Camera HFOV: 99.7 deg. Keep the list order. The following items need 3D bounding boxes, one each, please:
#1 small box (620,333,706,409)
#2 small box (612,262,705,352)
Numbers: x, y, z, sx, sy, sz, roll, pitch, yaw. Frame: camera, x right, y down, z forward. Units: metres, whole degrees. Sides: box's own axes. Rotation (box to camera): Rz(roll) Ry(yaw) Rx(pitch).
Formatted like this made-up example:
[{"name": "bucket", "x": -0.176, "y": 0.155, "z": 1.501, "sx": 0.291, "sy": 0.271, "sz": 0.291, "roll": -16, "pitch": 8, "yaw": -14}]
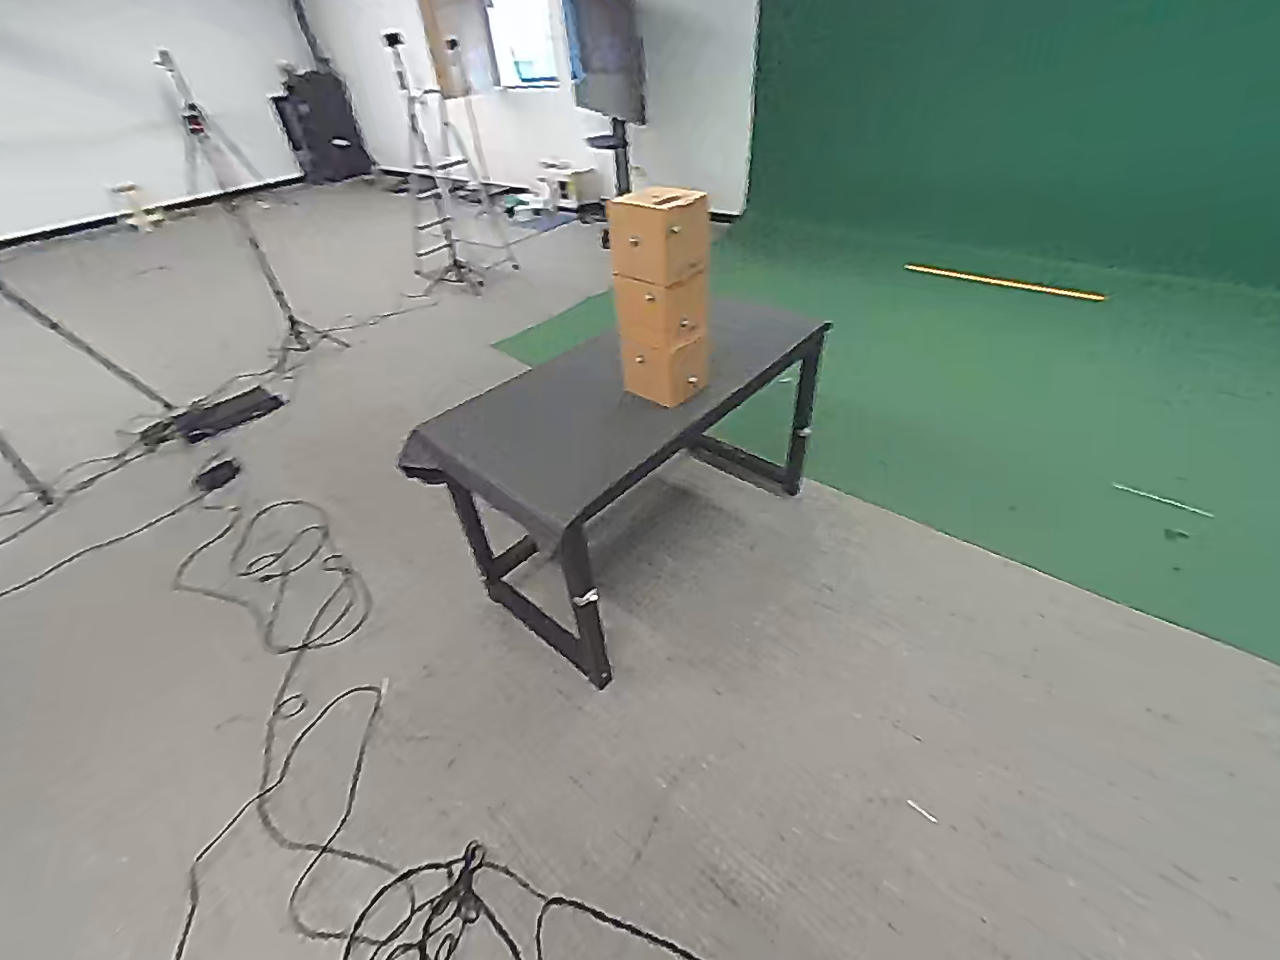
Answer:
[{"name": "small box", "x": 0.066, "y": -0.316, "z": 1.493, "sx": 0.179, "sy": 0.176, "sz": 0.168, "roll": 27, "pitch": 49, "yaw": 34}, {"name": "small box", "x": 0.049, "y": -0.447, "z": 1.398, "sx": 0.179, "sy": 0.176, "sz": 0.168, "roll": 28, "pitch": 49, "yaw": 34}]
